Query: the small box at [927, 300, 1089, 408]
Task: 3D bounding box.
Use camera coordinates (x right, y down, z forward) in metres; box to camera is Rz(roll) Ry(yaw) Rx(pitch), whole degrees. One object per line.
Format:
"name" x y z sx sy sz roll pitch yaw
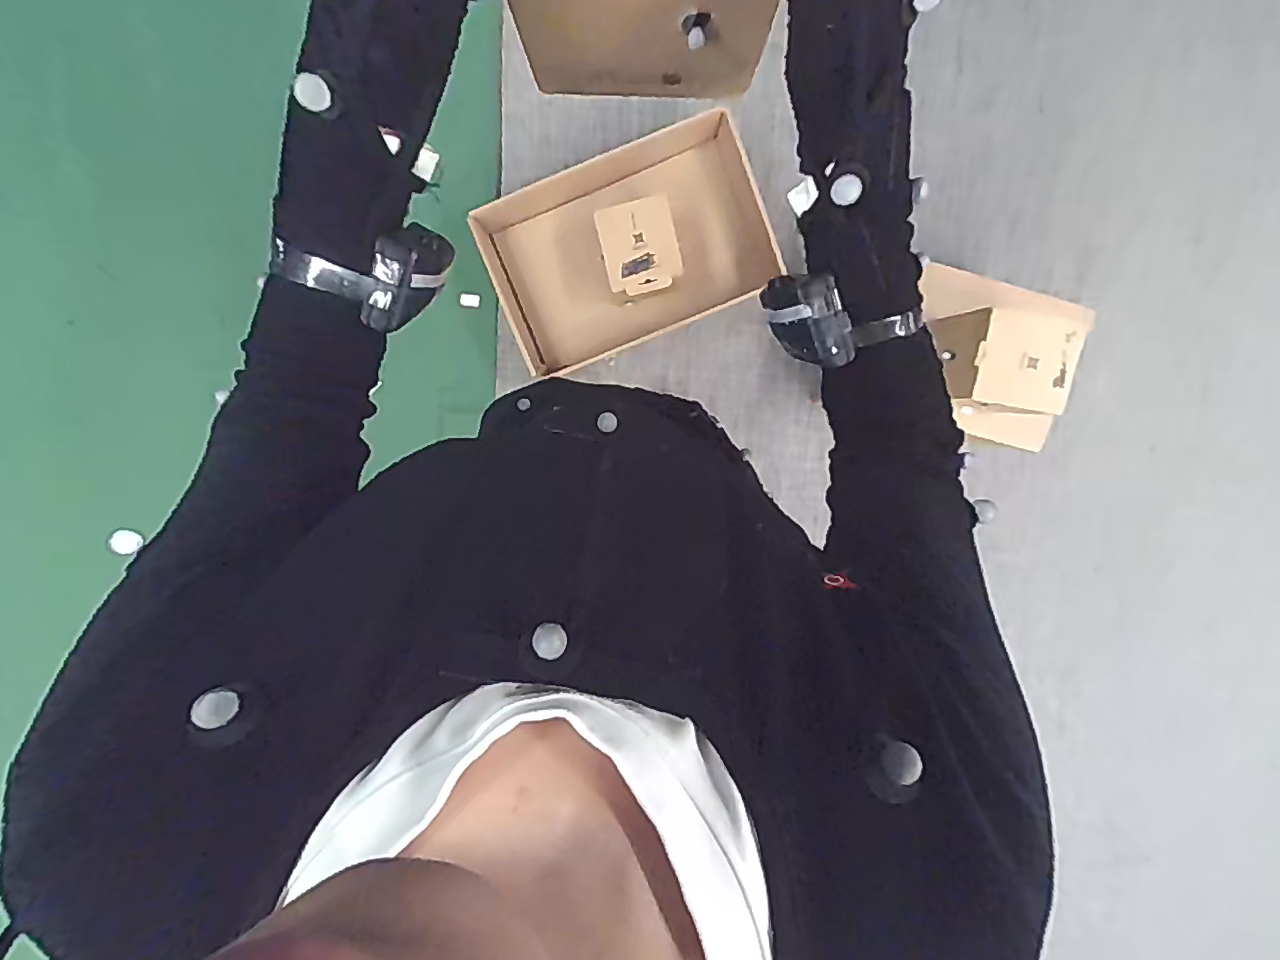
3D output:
"small box" 0.685 -0.233 1.031 0.179 0.176 0.168 9 100 -1

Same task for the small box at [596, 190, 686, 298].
"small box" 0.006 -0.531 1.248 0.168 0.176 0.179 -14 97 3
